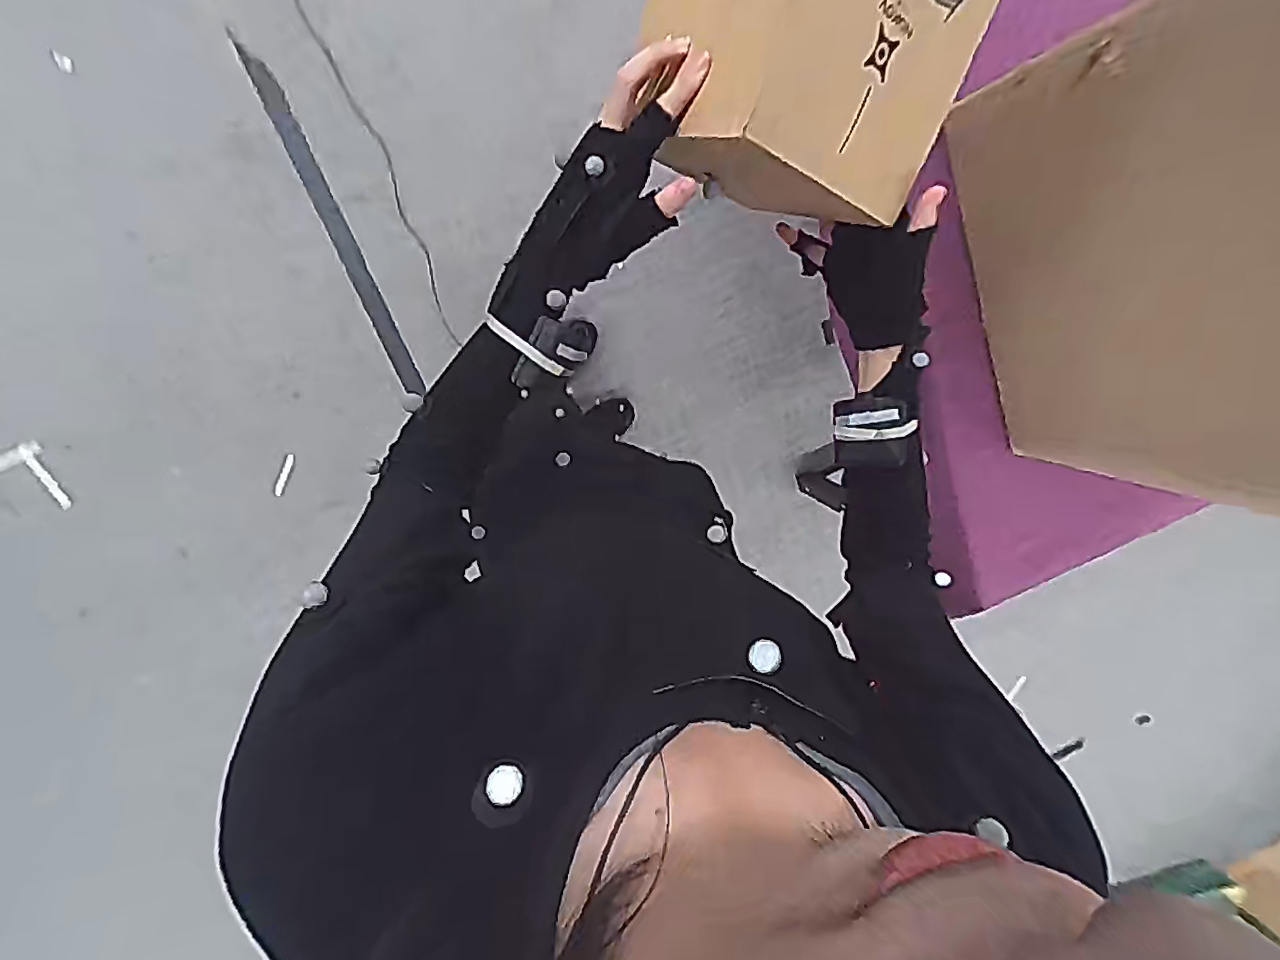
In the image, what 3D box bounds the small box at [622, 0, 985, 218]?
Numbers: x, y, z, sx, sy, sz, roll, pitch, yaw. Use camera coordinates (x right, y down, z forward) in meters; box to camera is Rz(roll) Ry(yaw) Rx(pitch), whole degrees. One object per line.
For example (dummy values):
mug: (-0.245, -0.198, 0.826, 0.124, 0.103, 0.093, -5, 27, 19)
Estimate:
small box: (0.108, -0.315, 0.392, 0.168, 0.176, 0.179, 4, 114, -37)
